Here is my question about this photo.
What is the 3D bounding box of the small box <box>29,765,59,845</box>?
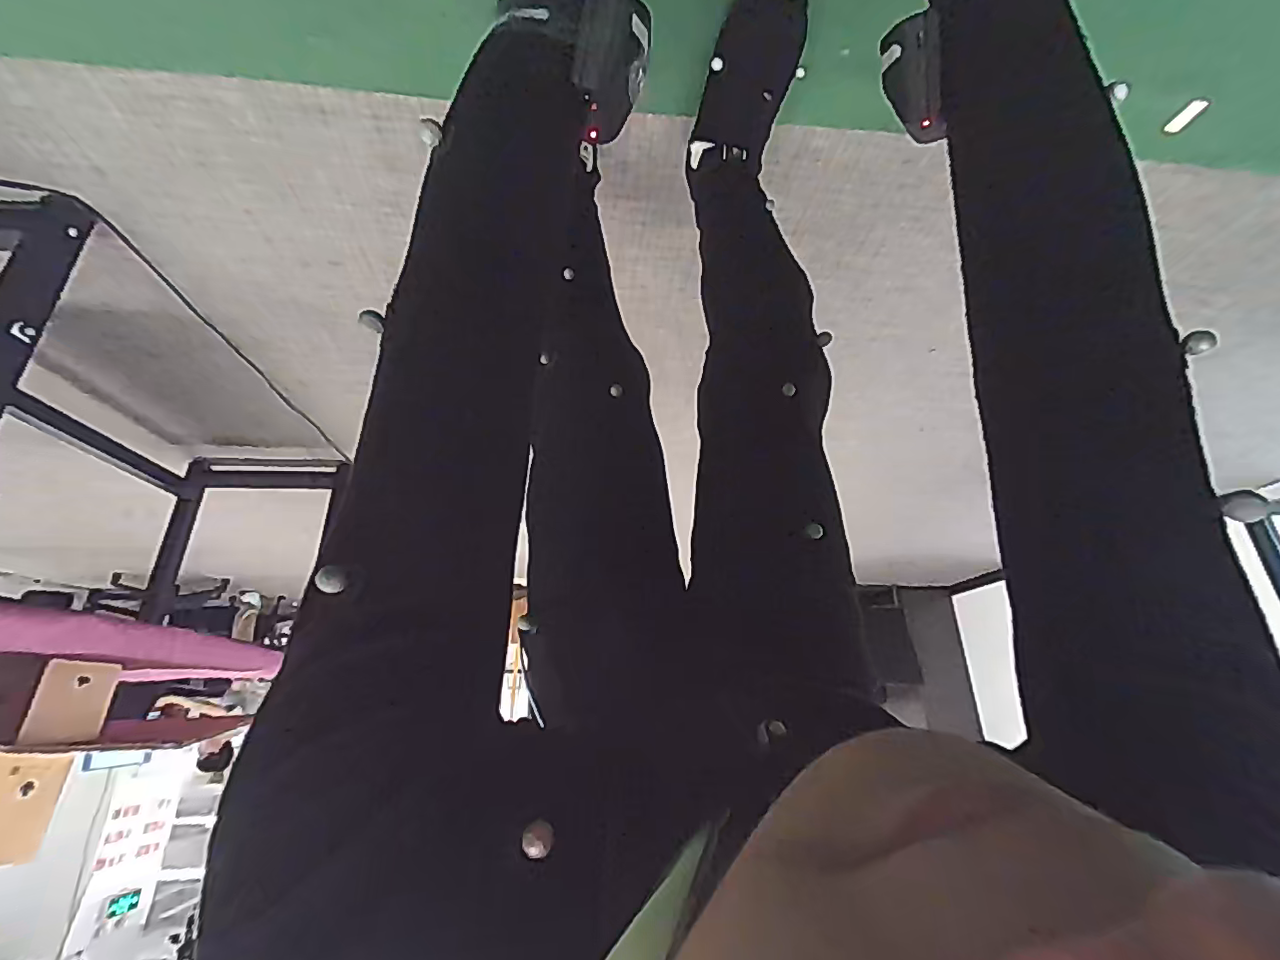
[{"bbox_3d":[-1.300,0.623,1.046,0.179,0.176,0.168,0,154,-2],"label":"small box"}]

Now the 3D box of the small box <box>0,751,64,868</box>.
[{"bbox_3d":[-1.107,0.531,0.865,0.179,0.176,0.168,-1,155,-3],"label":"small box"}]
